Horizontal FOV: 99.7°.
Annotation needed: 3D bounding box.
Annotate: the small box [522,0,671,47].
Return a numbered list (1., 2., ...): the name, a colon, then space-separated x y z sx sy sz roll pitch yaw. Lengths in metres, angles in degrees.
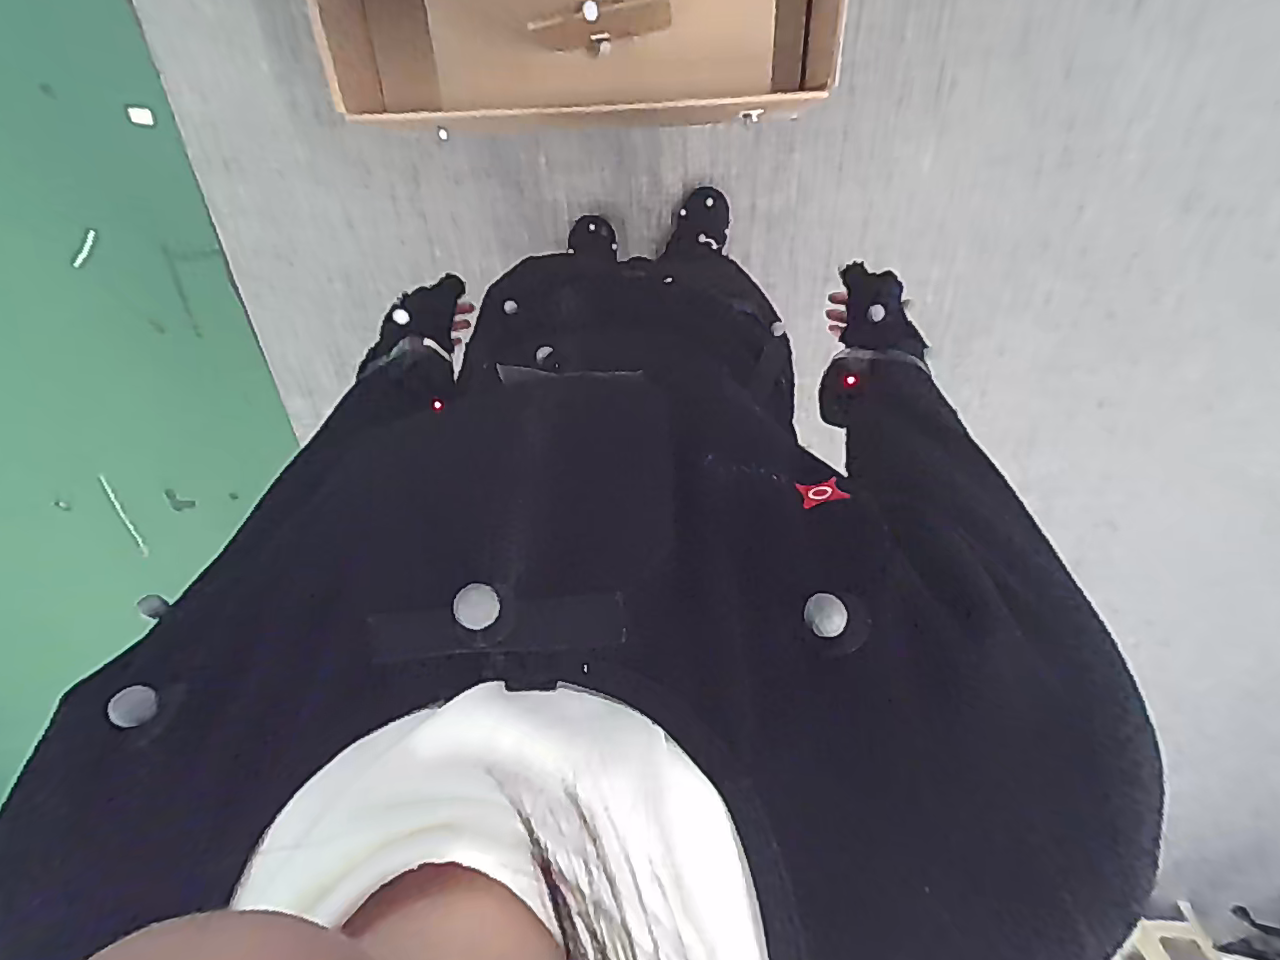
1. small box: -0.056 -0.637 0.624 0.168 0.176 0.179 -6 120 8

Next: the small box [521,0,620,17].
1. small box: -0.064 -0.557 0.482 0.168 0.176 0.179 -6 120 9
